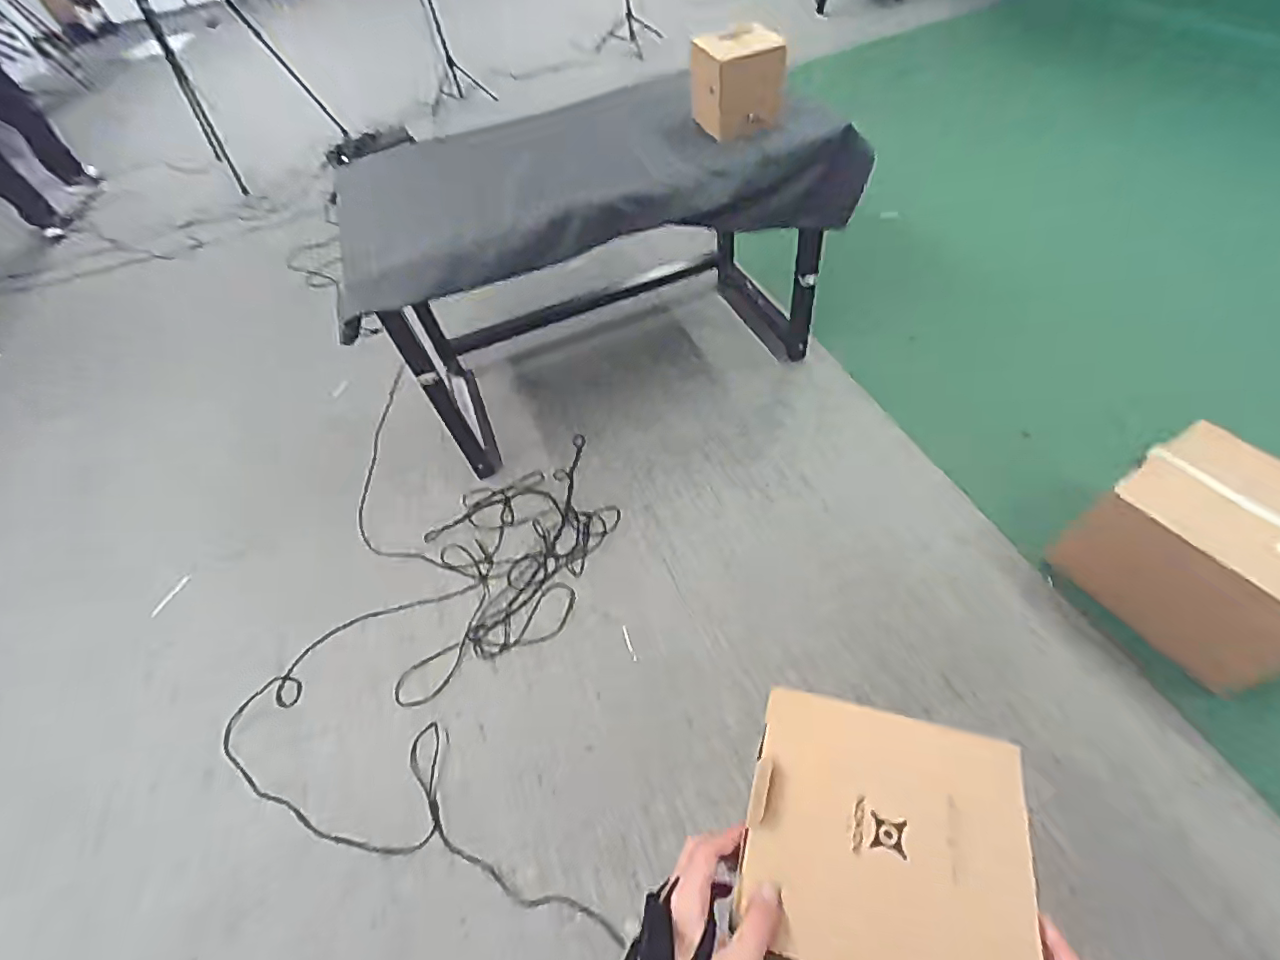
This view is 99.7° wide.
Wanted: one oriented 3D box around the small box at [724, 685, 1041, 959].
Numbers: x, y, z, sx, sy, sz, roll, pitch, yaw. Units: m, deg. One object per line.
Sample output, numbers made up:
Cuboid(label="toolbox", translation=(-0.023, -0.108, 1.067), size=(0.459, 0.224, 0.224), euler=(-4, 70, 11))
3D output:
Cuboid(label="small box", translation=(0.168, 0.287, 0.413), size=(0.179, 0.176, 0.168), euler=(7, 48, 18))
